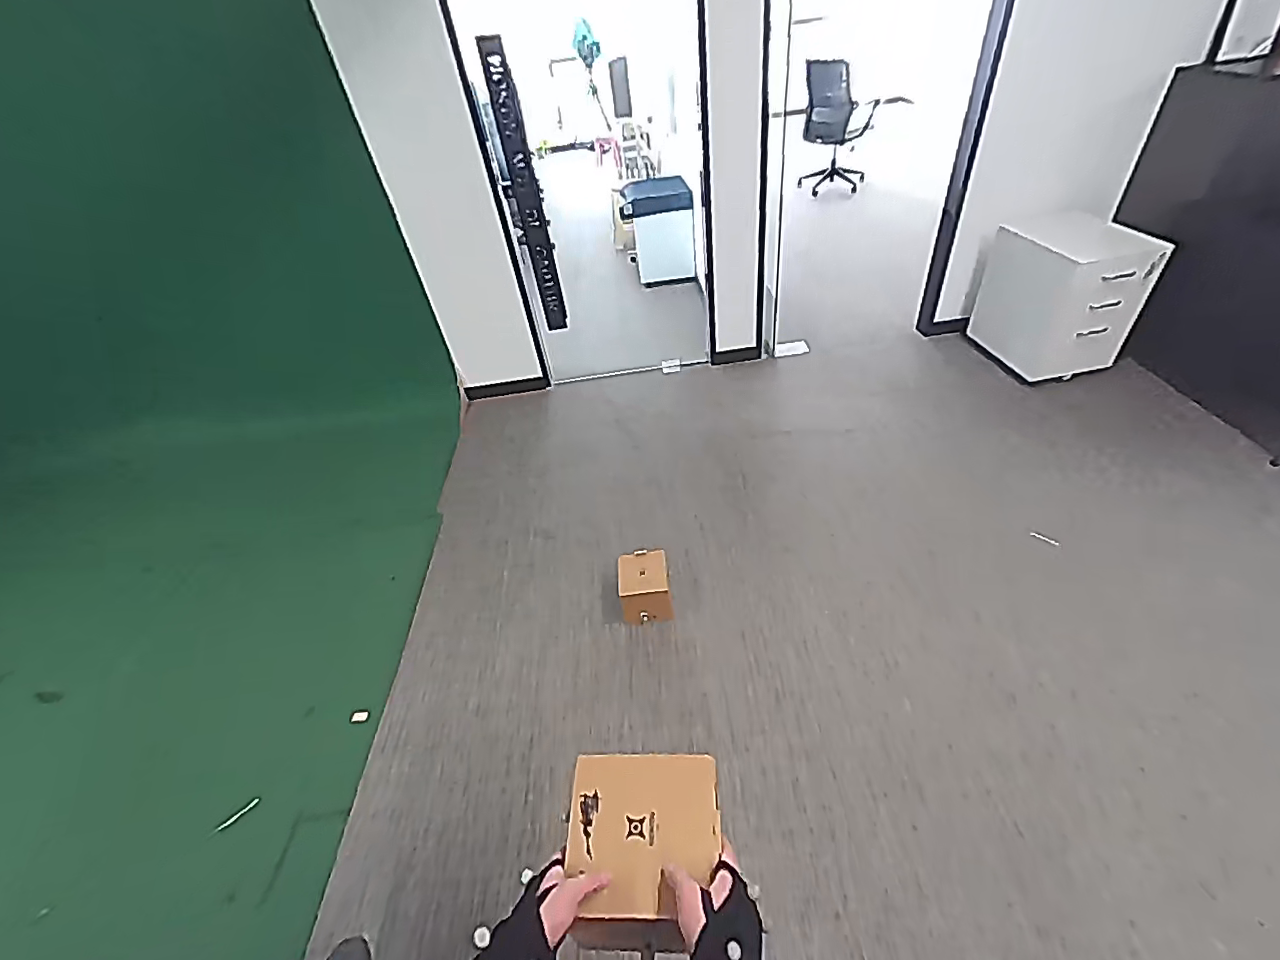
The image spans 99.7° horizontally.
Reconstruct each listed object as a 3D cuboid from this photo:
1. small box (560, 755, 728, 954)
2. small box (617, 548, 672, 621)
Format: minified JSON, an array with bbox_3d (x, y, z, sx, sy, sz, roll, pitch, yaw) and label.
[{"bbox_3d":[0.010,0.463,0.669,0.179,0.176,0.168,0,40,4],"label":"small box"},{"bbox_3d":[0.017,0.359,1.853,0.168,0.176,0.179,-7,41,5],"label":"small box"}]
